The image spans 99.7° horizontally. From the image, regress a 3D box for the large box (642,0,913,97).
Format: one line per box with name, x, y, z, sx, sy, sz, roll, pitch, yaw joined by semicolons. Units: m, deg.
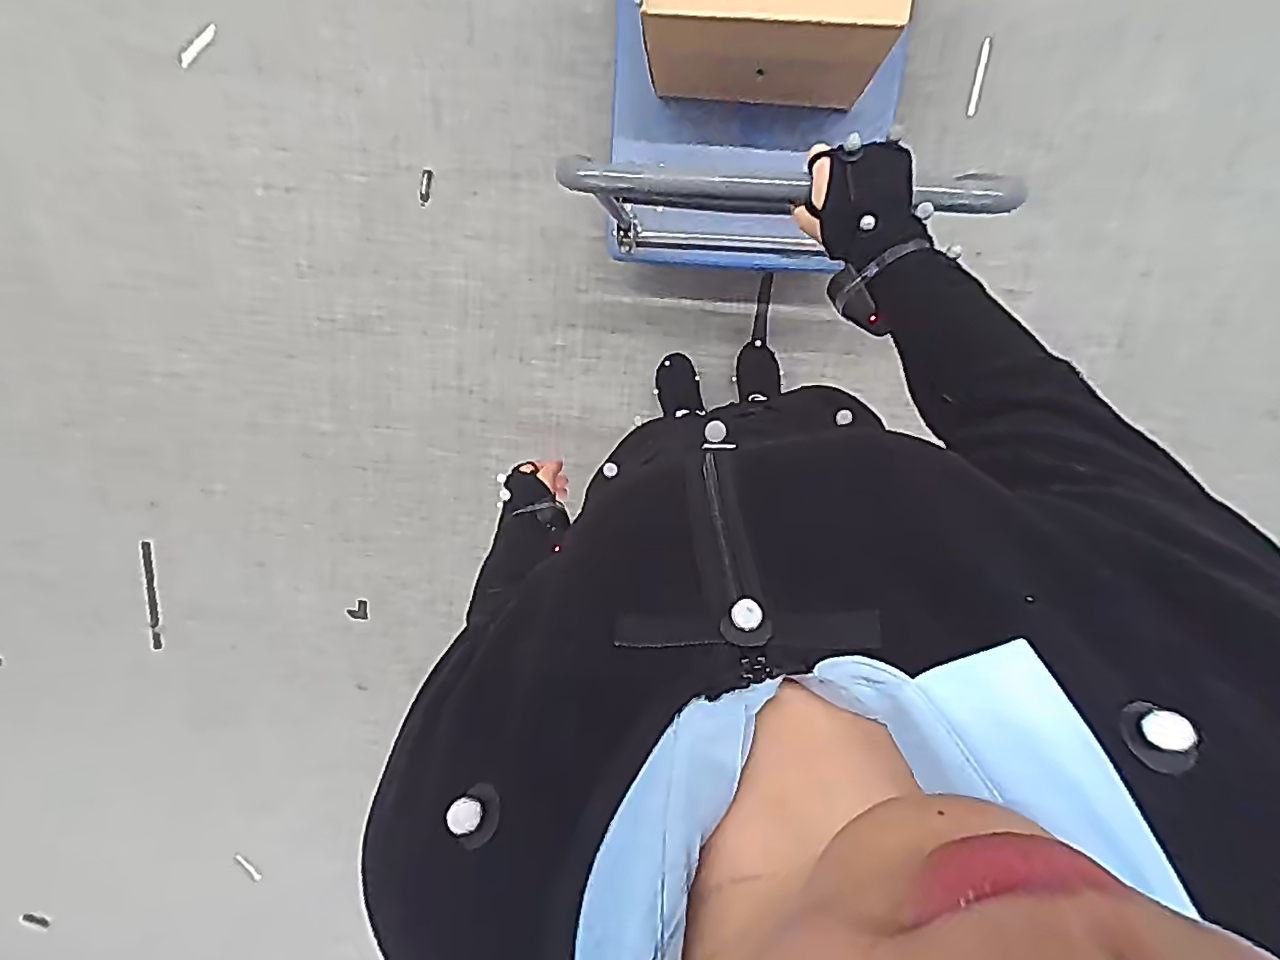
large box;0.229;-0.884;0.909;0.408;0.320;0.320;7;105;6
